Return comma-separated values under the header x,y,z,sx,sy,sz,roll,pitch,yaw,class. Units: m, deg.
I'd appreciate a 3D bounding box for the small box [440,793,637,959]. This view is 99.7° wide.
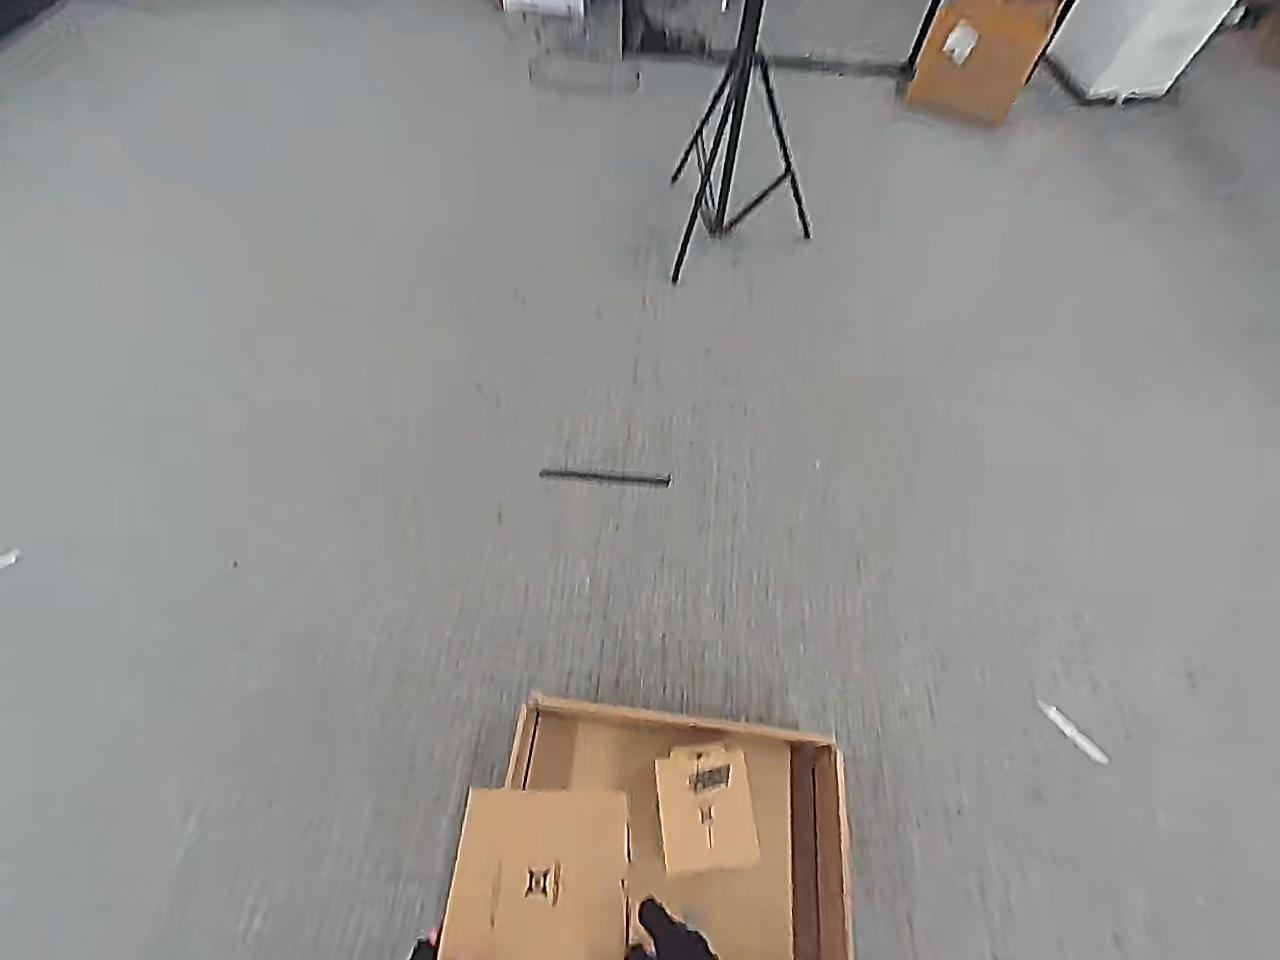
x,y,z,sx,sy,sz,roll,pitch,yaw,class
-0.097,0.452,0.573,0.179,0.176,0.168,2,42,-3,small box
